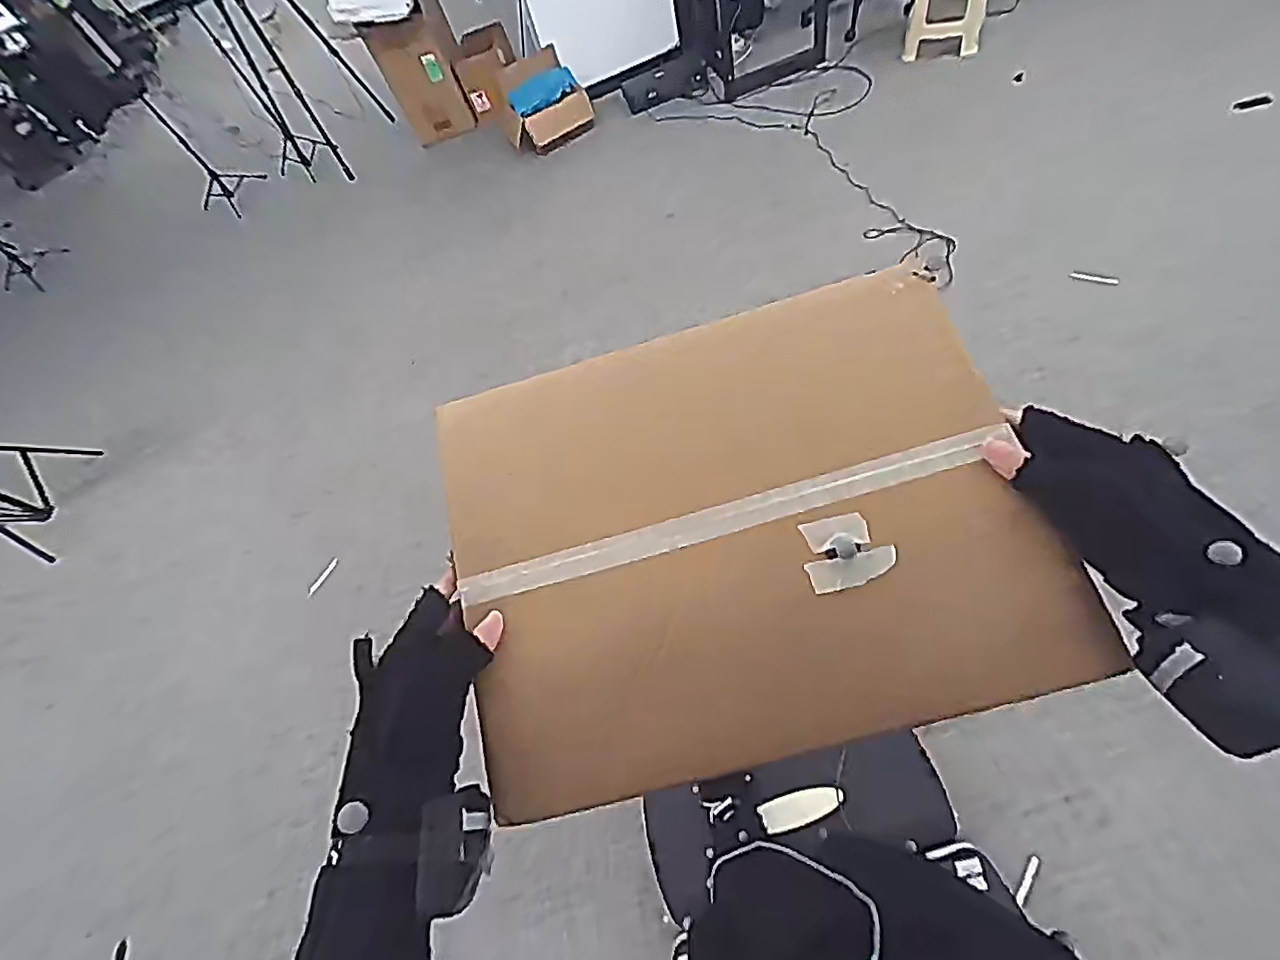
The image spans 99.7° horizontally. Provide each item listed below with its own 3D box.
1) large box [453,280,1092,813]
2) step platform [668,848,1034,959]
[{"bbox_3d":[0.085,0.076,0.545,0.408,0.320,0.320,-17,72,4],"label":"large box"},{"bbox_3d":[0.398,0.981,1.049,0.684,0.204,0.286,-22,55,4],"label":"step platform"}]
